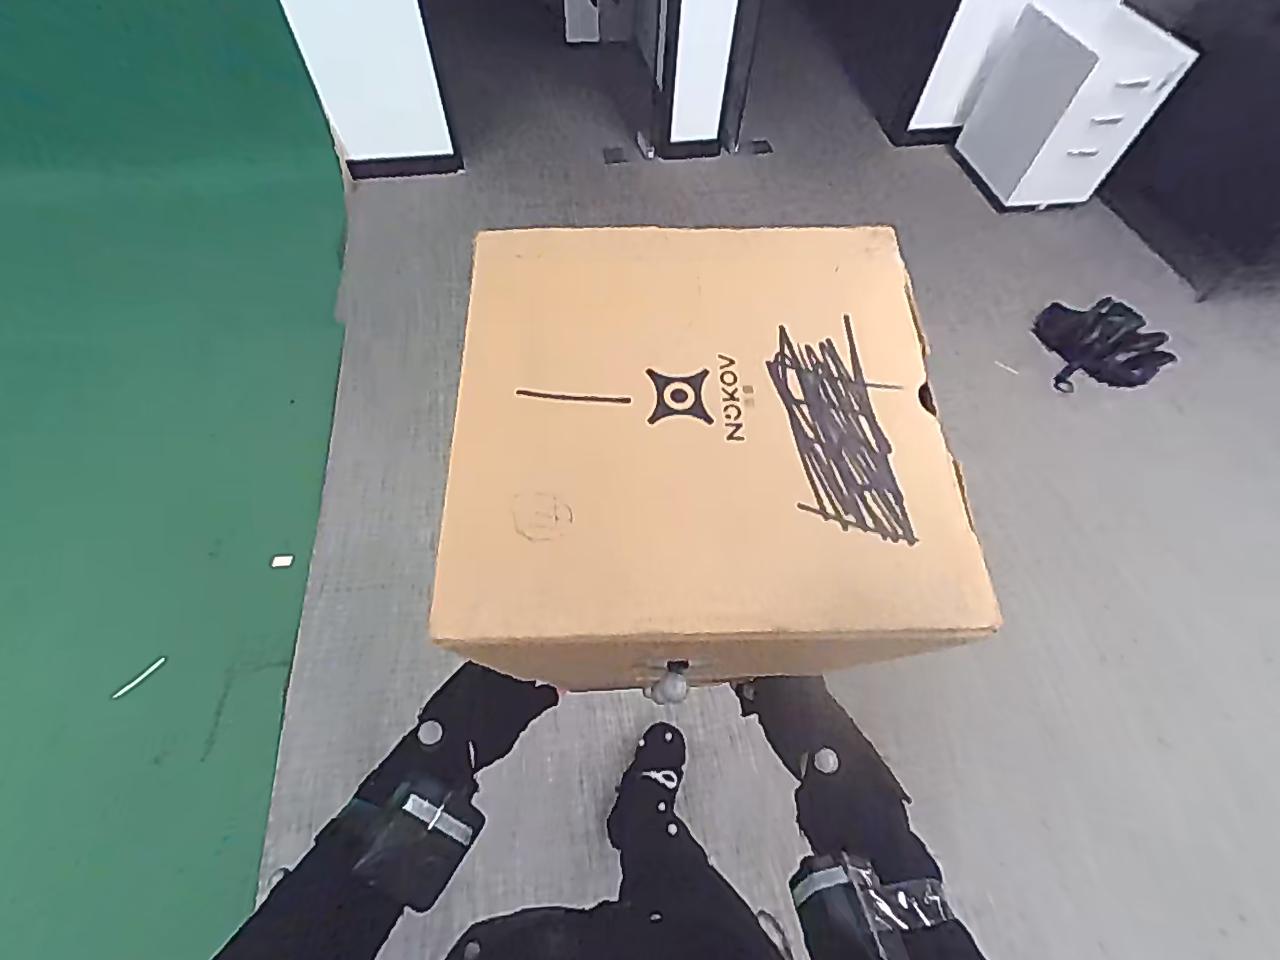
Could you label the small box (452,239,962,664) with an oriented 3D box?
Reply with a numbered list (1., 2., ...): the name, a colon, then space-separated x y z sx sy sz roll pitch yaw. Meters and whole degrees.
1. small box: 0.021 0.002 0.284 0.179 0.176 0.168 -1 66 -2
